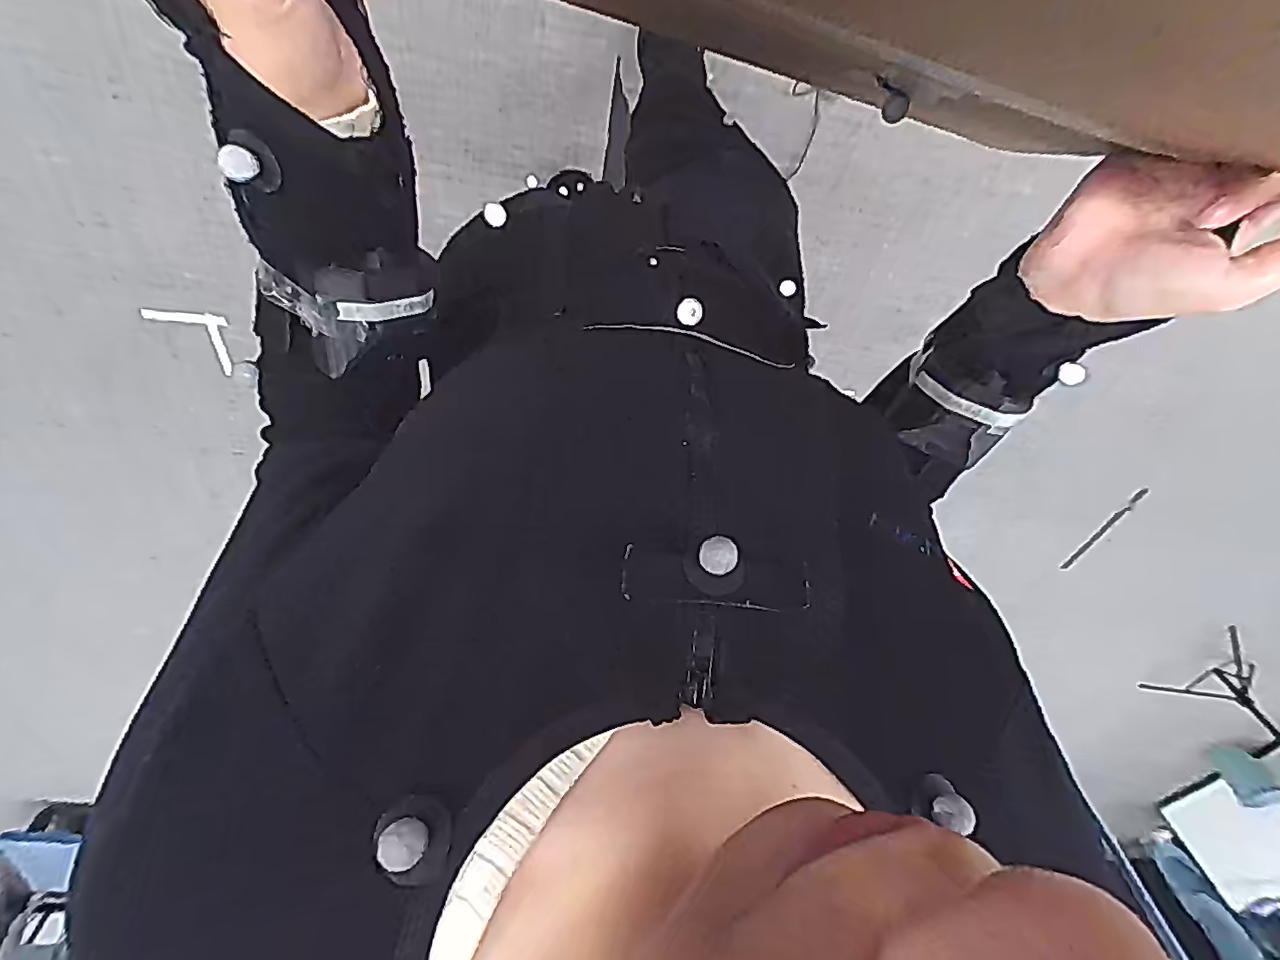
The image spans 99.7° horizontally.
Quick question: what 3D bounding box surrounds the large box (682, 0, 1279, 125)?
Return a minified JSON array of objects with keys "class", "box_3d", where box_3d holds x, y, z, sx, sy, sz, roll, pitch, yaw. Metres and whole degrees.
[{"class":"large box","box_3d":[0.109,-0.312,0.114,0.408,0.320,0.320,8,123,-12]}]
